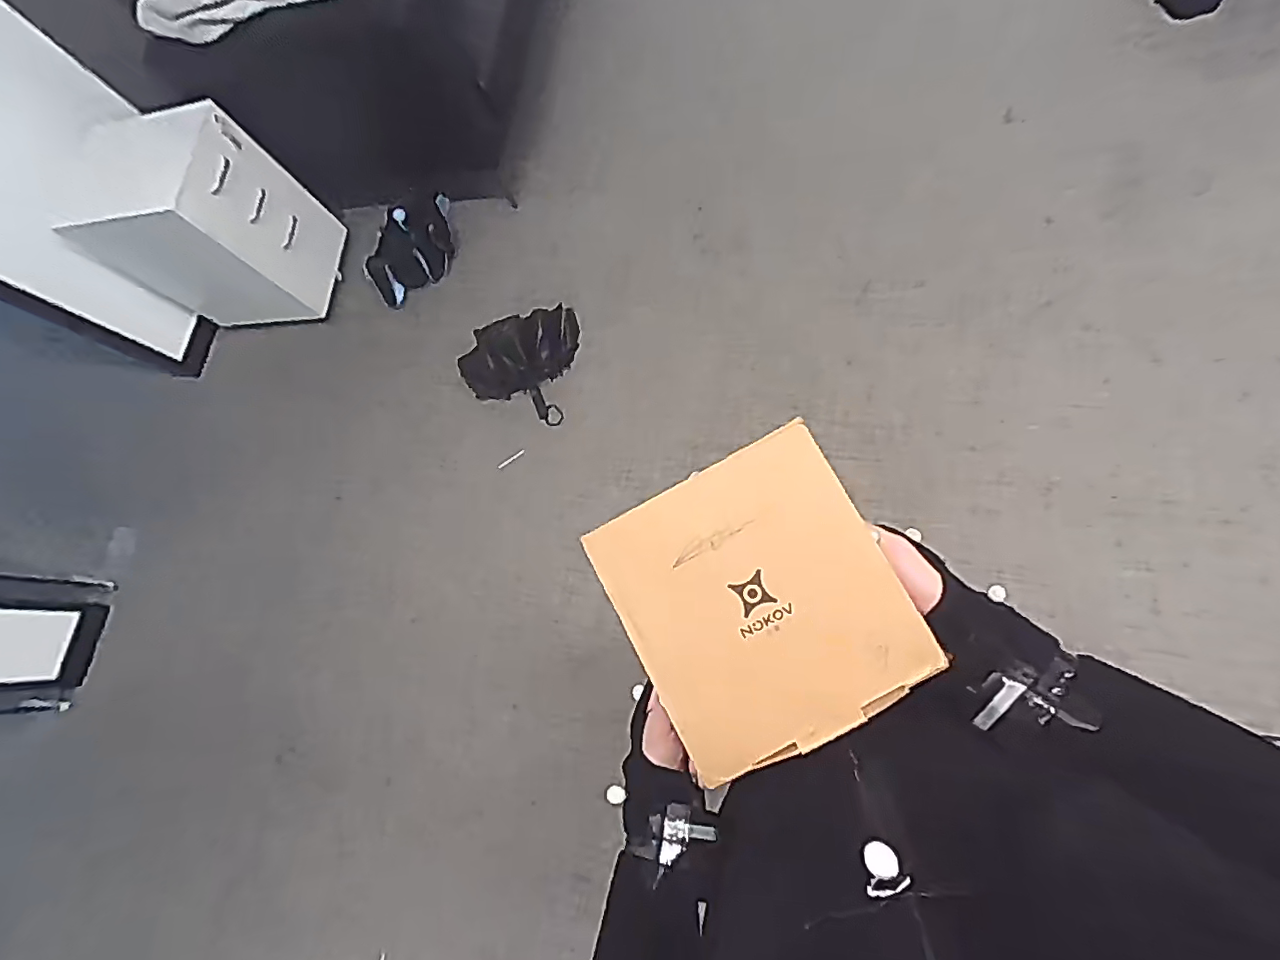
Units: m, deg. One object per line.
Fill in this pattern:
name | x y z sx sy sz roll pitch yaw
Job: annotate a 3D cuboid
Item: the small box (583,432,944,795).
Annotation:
small box | 0.082 0.091 0.416 0.168 0.176 0.179 -29 78 1
